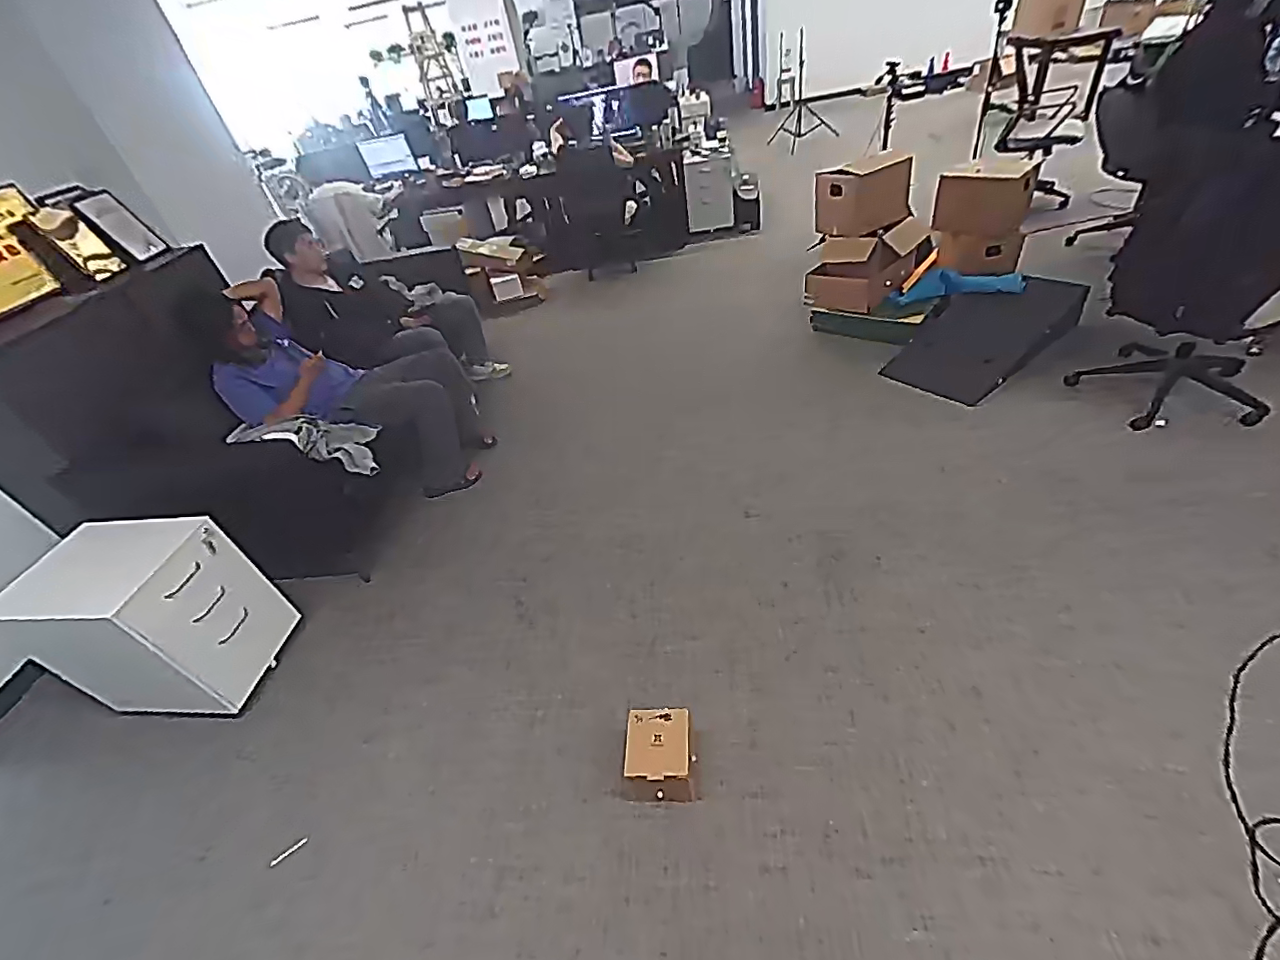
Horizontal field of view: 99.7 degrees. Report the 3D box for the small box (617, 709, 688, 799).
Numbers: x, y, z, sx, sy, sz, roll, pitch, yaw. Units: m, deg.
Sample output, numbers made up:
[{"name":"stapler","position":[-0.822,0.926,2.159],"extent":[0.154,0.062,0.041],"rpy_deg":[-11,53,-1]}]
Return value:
[{"name":"small box","position":[0.039,0.751,1.474],"extent":[0.168,0.176,0.179],"rpy_deg":[-7,40,8]}]
